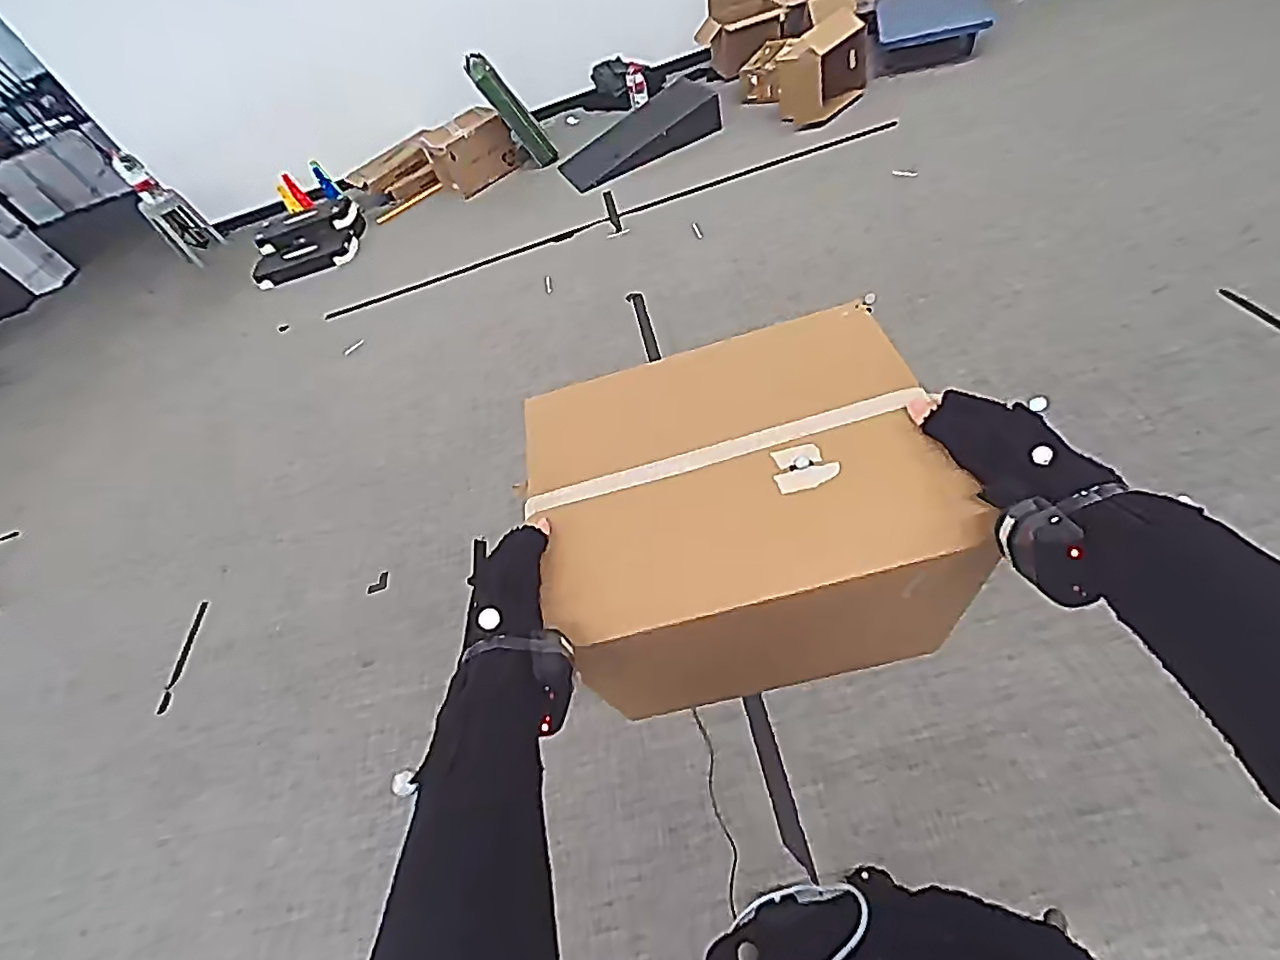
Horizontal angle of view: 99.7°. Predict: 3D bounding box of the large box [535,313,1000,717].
[{"bbox_3d":[0.119,0.061,0.671,0.408,0.320,0.320,-16,54,5],"label":"large box"}]
